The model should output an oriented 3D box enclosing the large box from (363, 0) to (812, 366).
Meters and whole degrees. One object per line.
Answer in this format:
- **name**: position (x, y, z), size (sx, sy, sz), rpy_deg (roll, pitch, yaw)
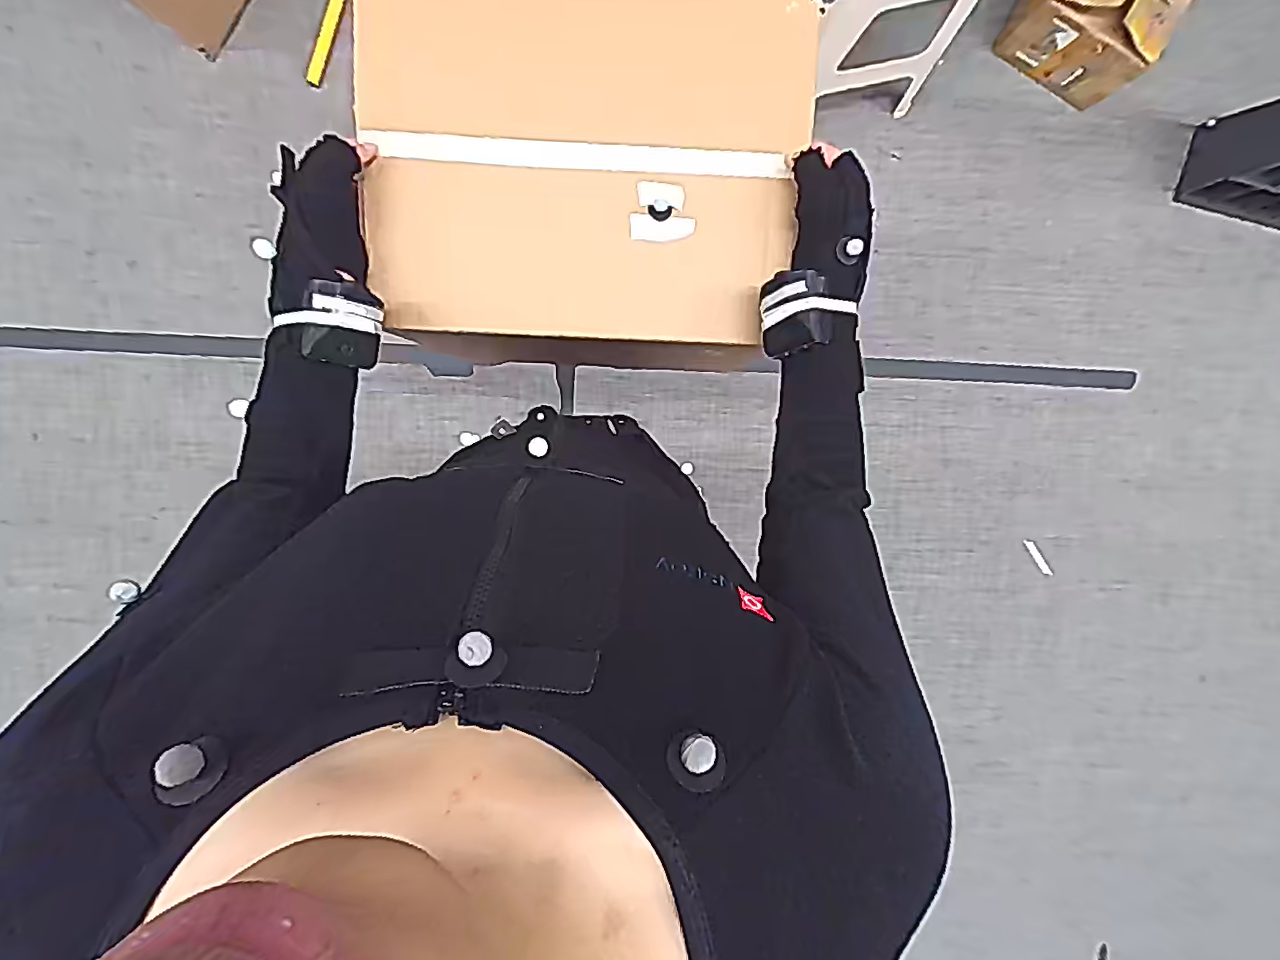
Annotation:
- **large box**: position (-0.055, -0.310, 0.639), size (0.408, 0.320, 0.320), rpy_deg (2, 97, -3)
